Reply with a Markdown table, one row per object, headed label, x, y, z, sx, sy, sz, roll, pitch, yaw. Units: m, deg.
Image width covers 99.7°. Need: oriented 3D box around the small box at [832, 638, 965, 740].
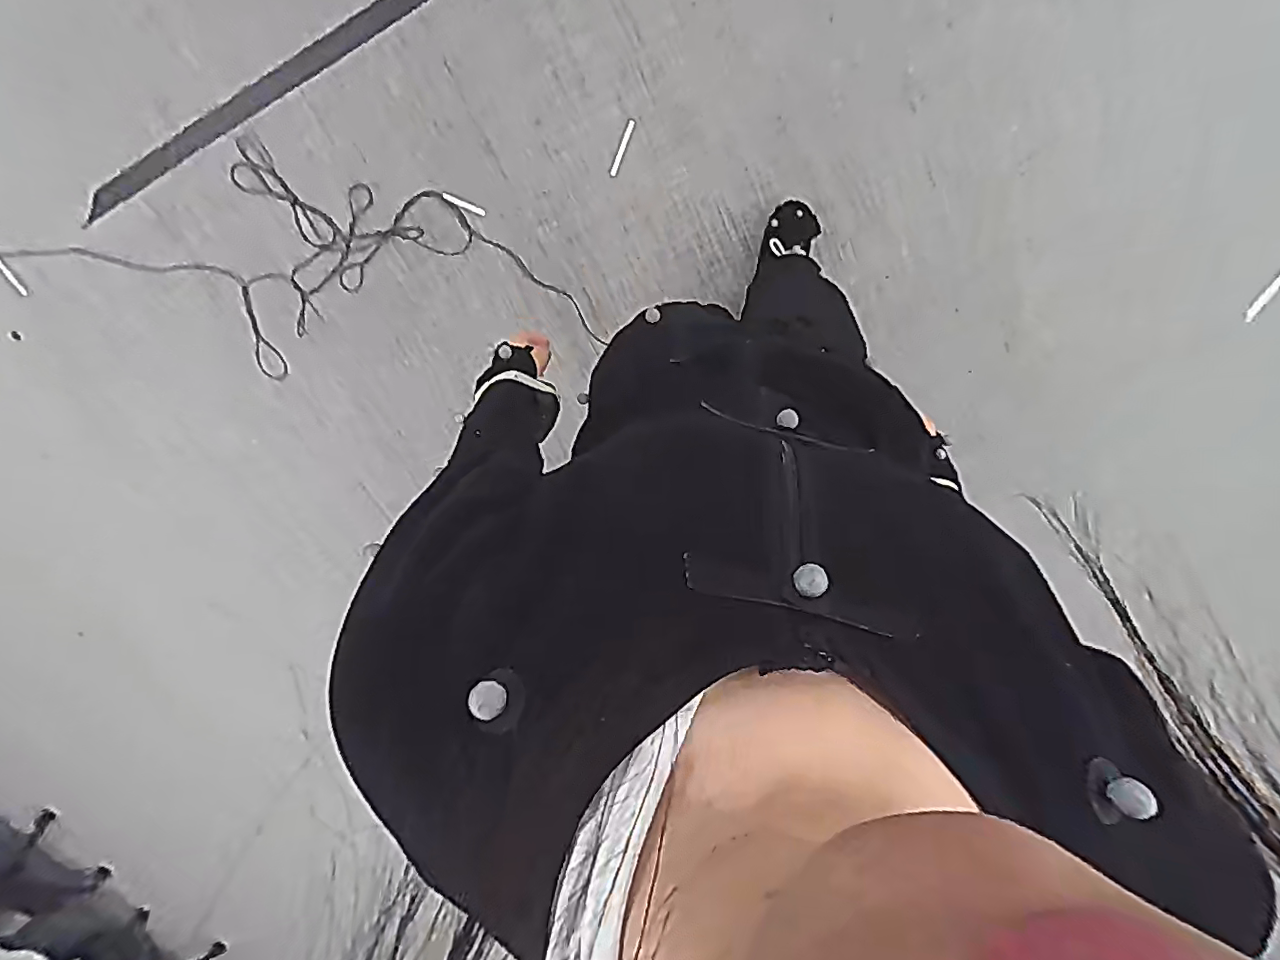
| label | x | y | z | sx | sy | sz | roll | pitch | yaw |
| --- | --- | --- | --- | --- | --- | --- | --- | --- | --- |
| small box | 0.465 | 0.410 | 0.980 | 0.168 | 0.176 | 0.179 | -18 | 111 | 10 |
